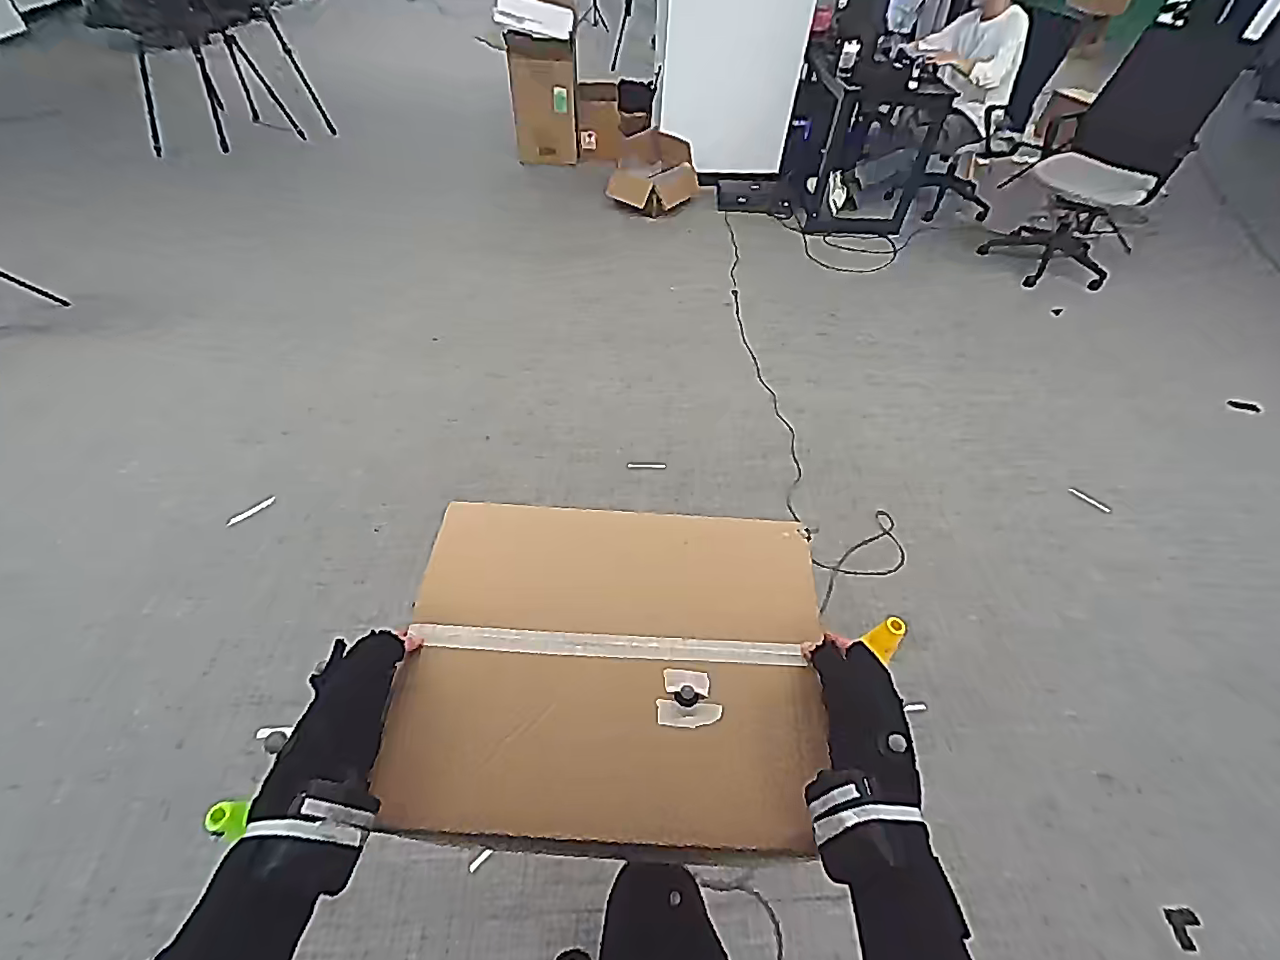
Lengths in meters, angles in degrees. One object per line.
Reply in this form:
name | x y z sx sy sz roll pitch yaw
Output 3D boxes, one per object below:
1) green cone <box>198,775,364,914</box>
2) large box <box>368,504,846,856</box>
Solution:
green cone | -0.737 0.688 1.068 0.202 0.368 0.200 -32 57 -24
large box | -0.028 0.249 0.649 0.408 0.320 0.320 4 53 0
